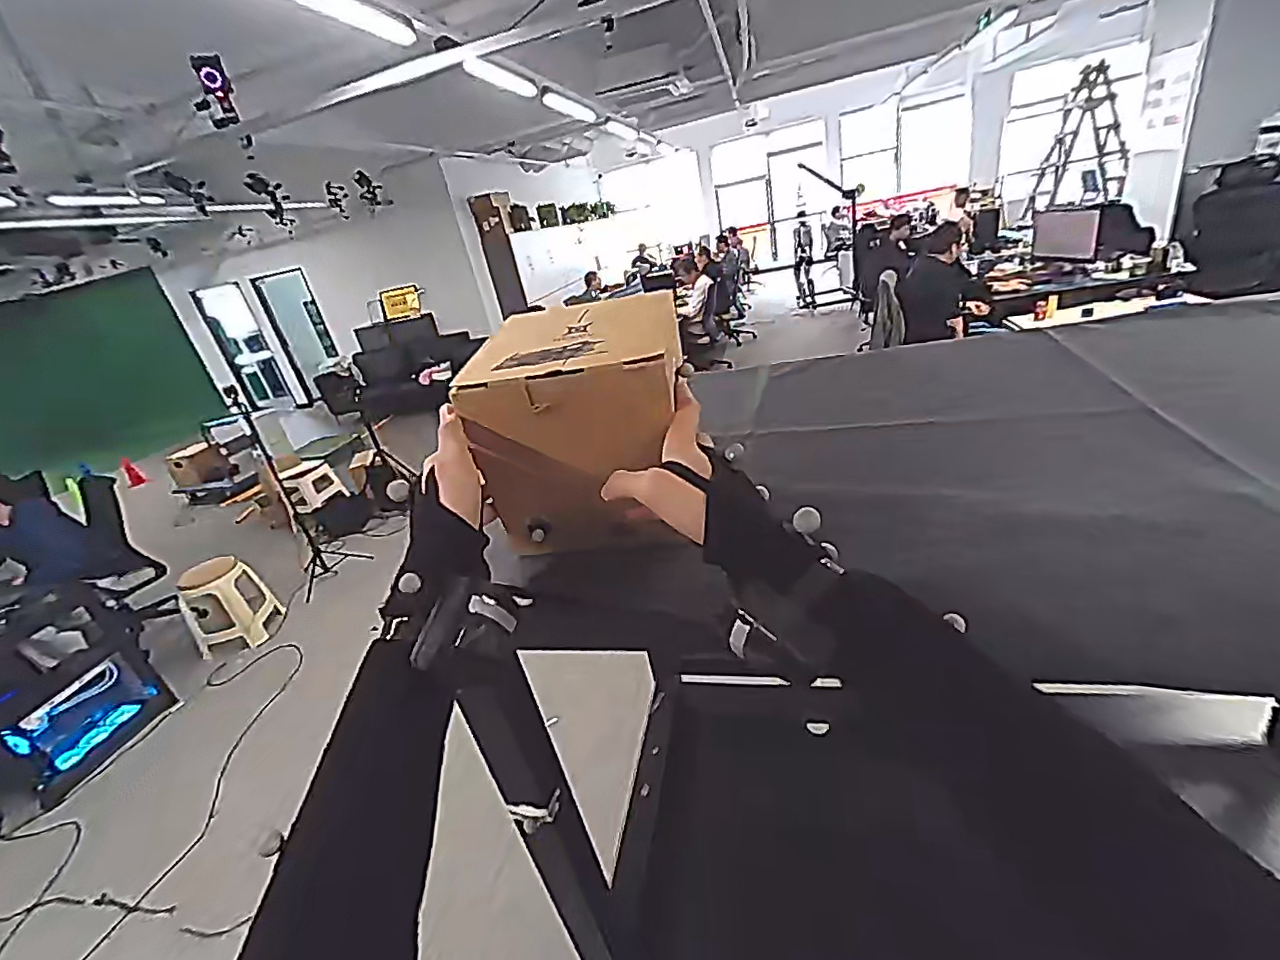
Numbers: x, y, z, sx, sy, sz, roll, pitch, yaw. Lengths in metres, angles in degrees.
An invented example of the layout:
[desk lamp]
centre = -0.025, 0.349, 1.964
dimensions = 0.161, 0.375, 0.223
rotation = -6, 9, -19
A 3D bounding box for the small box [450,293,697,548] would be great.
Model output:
[small box]
centre = -0.040, -0.051, 0.496
dimensions = 0.168, 0.176, 0.179
rotation = -6, 33, 10
